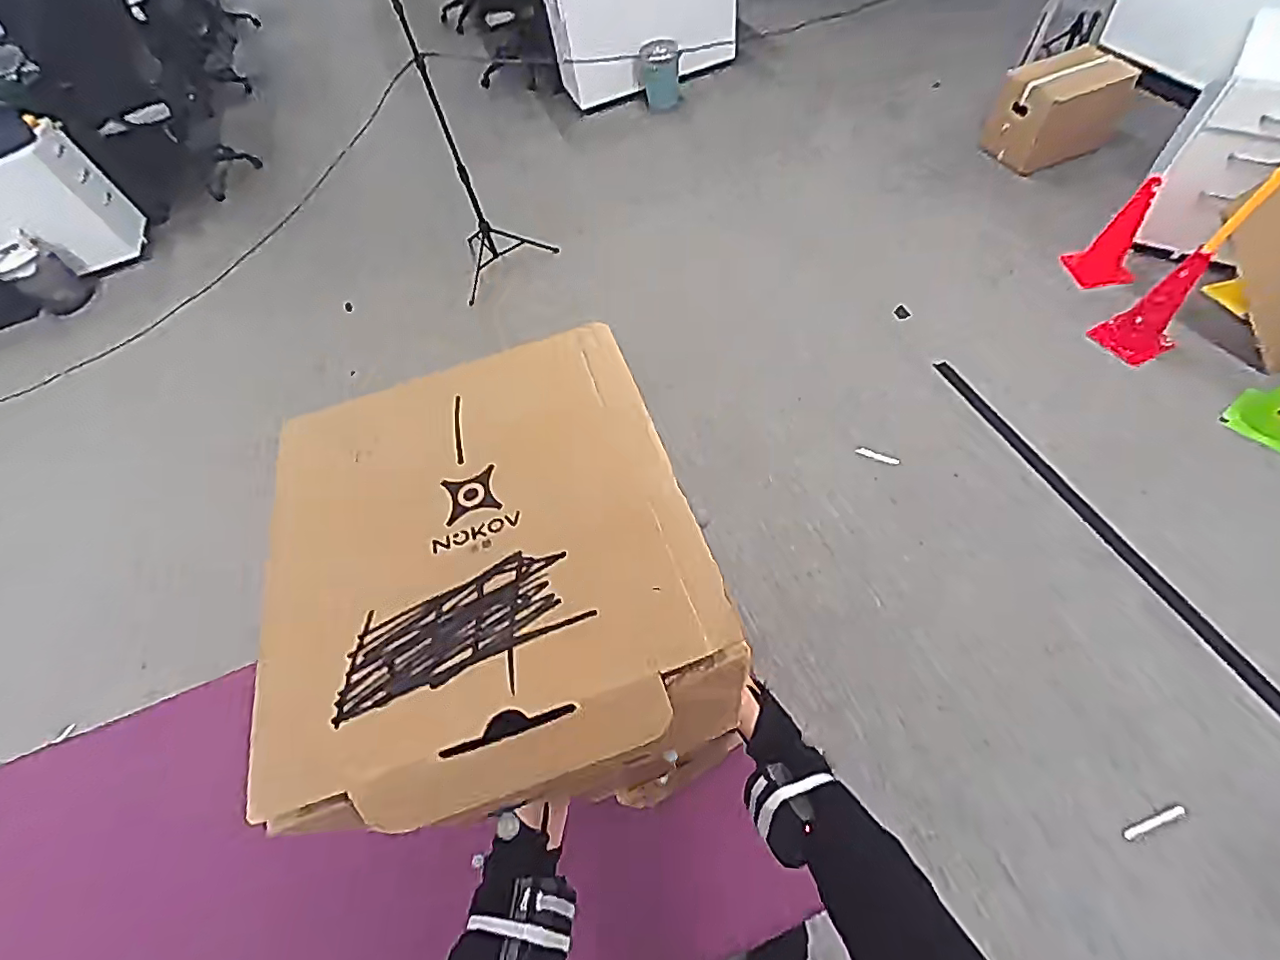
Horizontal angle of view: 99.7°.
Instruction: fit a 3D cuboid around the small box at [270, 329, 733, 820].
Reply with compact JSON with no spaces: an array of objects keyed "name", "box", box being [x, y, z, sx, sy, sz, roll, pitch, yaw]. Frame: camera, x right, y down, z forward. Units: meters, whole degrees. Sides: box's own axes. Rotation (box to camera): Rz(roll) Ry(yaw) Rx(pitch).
[{"name":"small box","box":[-0.056,0.058,0.291,0.168,0.176,0.179,-18,56,-4]}]
